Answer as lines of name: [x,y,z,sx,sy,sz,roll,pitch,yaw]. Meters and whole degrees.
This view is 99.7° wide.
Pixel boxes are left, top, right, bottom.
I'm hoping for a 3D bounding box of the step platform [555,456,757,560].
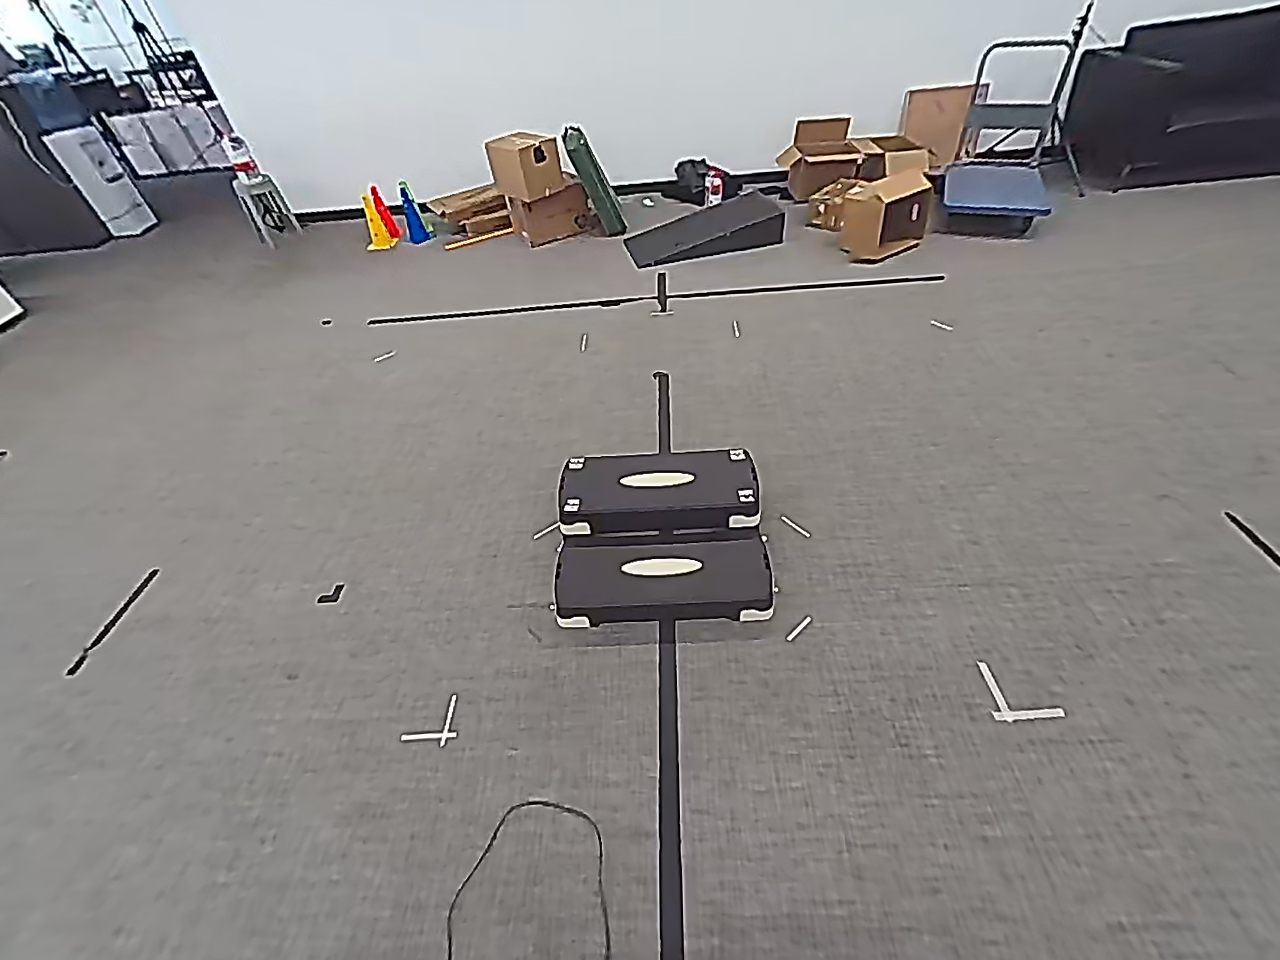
step platform: [0.051,0.090,1.857,0.684,0.204,0.286,-3,45,2]
